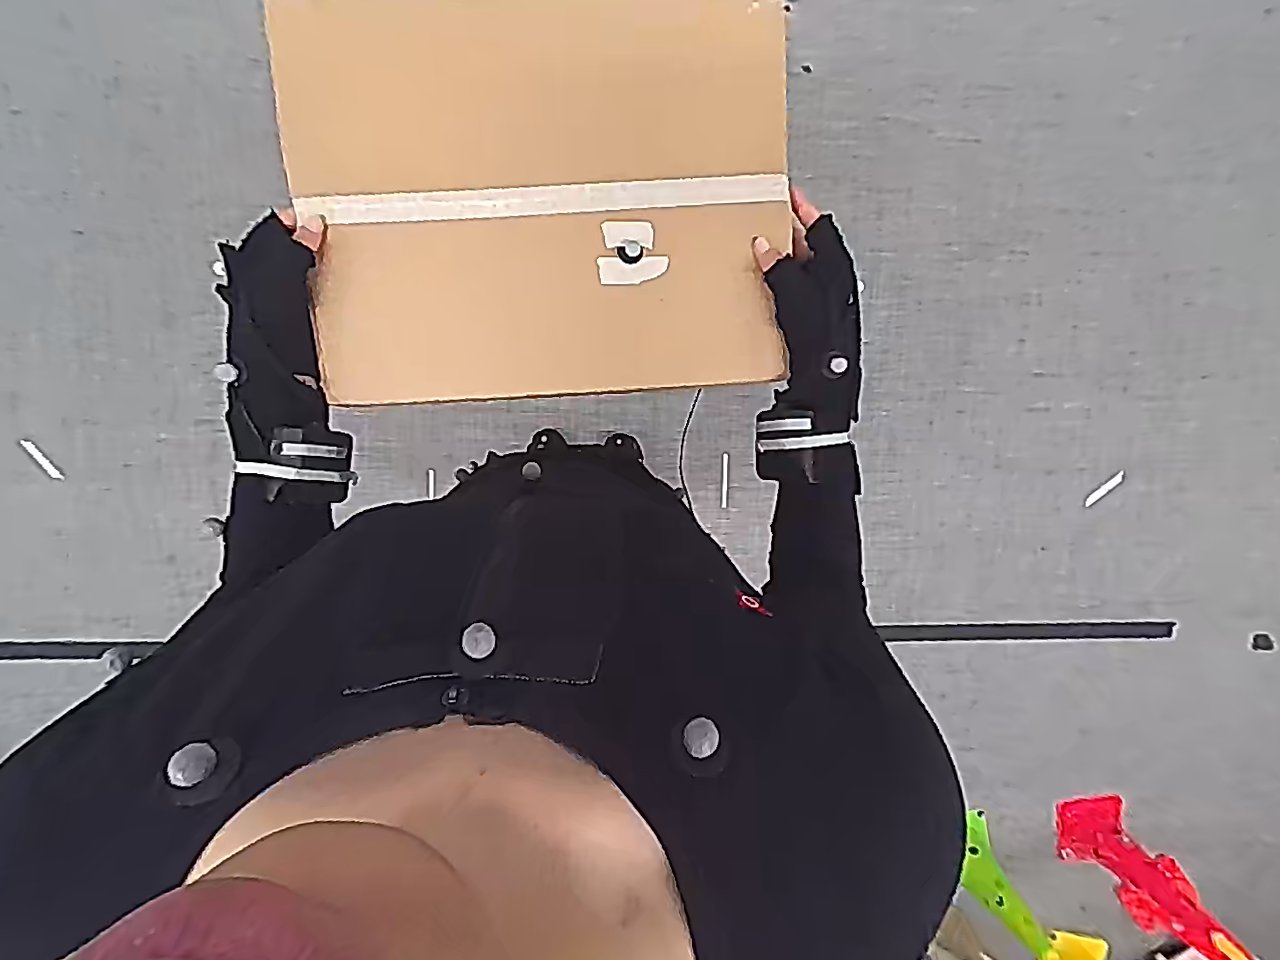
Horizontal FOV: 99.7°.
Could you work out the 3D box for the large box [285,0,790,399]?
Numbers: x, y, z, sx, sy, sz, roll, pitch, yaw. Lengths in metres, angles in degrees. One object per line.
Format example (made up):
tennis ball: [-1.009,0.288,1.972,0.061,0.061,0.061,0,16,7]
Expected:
large box: [-0.083,-0.262,0.603,0.408,0.320,0.320,-4,100,-3]
